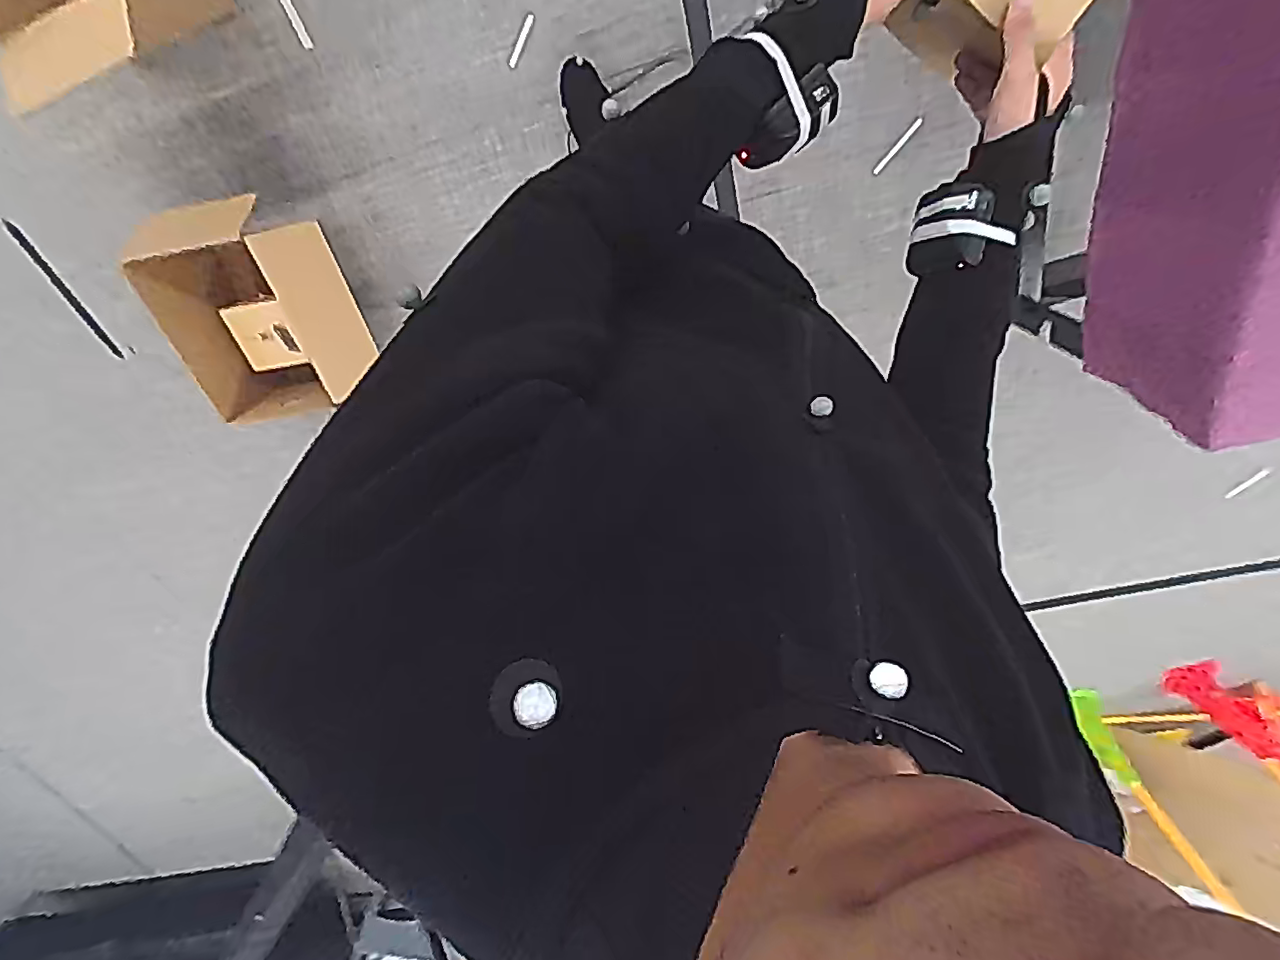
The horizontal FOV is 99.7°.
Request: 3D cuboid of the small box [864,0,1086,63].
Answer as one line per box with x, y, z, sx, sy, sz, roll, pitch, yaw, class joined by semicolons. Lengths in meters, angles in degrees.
0.282;-0.470;0.432;0.179;0.176;0.168;26;121;-16;small box
